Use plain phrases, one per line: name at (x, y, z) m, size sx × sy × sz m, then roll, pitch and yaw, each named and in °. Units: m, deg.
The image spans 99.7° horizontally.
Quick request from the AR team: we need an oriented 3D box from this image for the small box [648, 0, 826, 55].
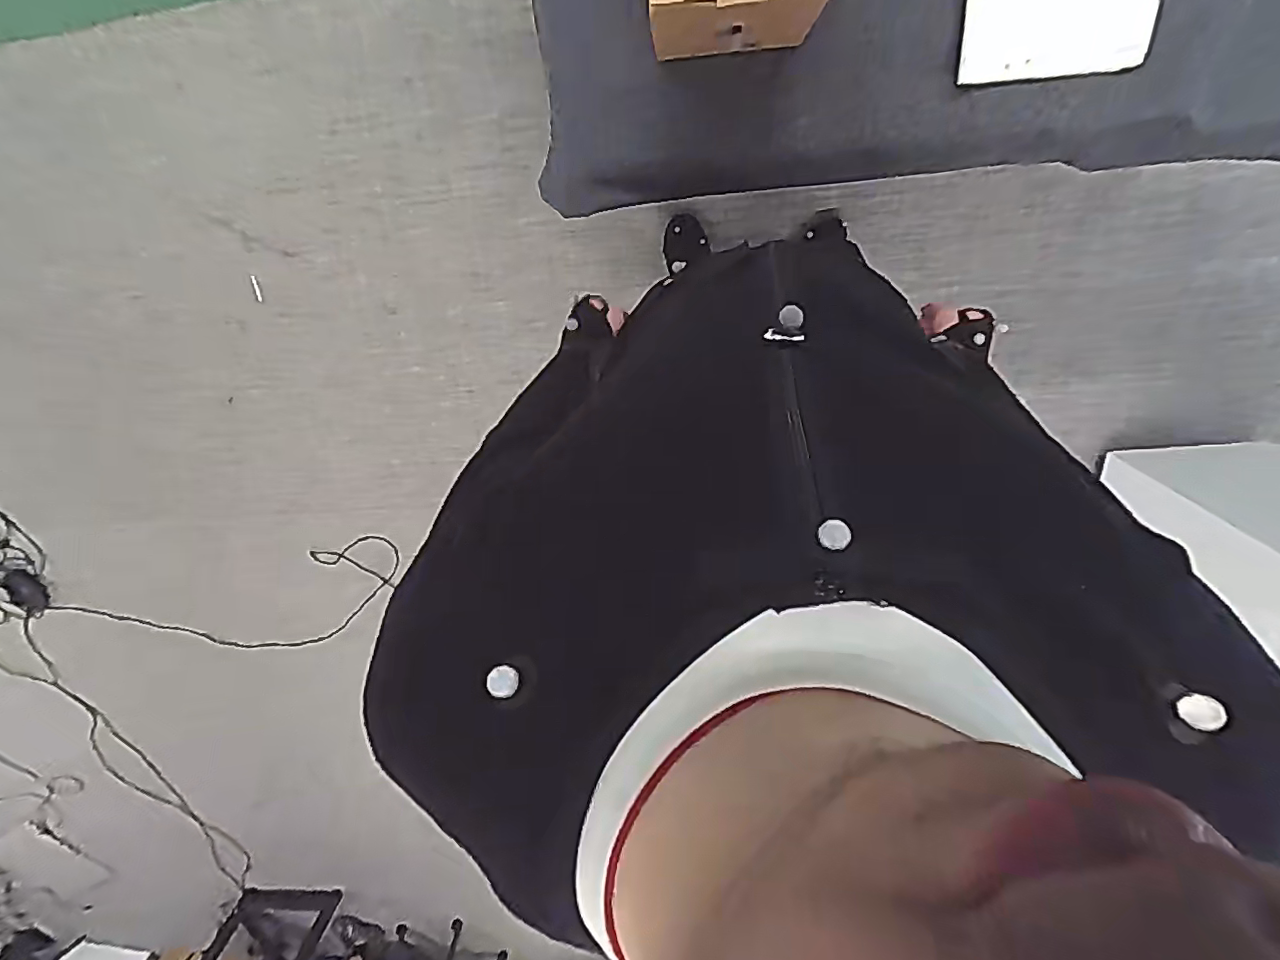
small box at (0.090, -0.530, 0.512) m, size 0.168 × 0.176 × 0.179 m, roll -2°, pitch 116°, yaw 6°
